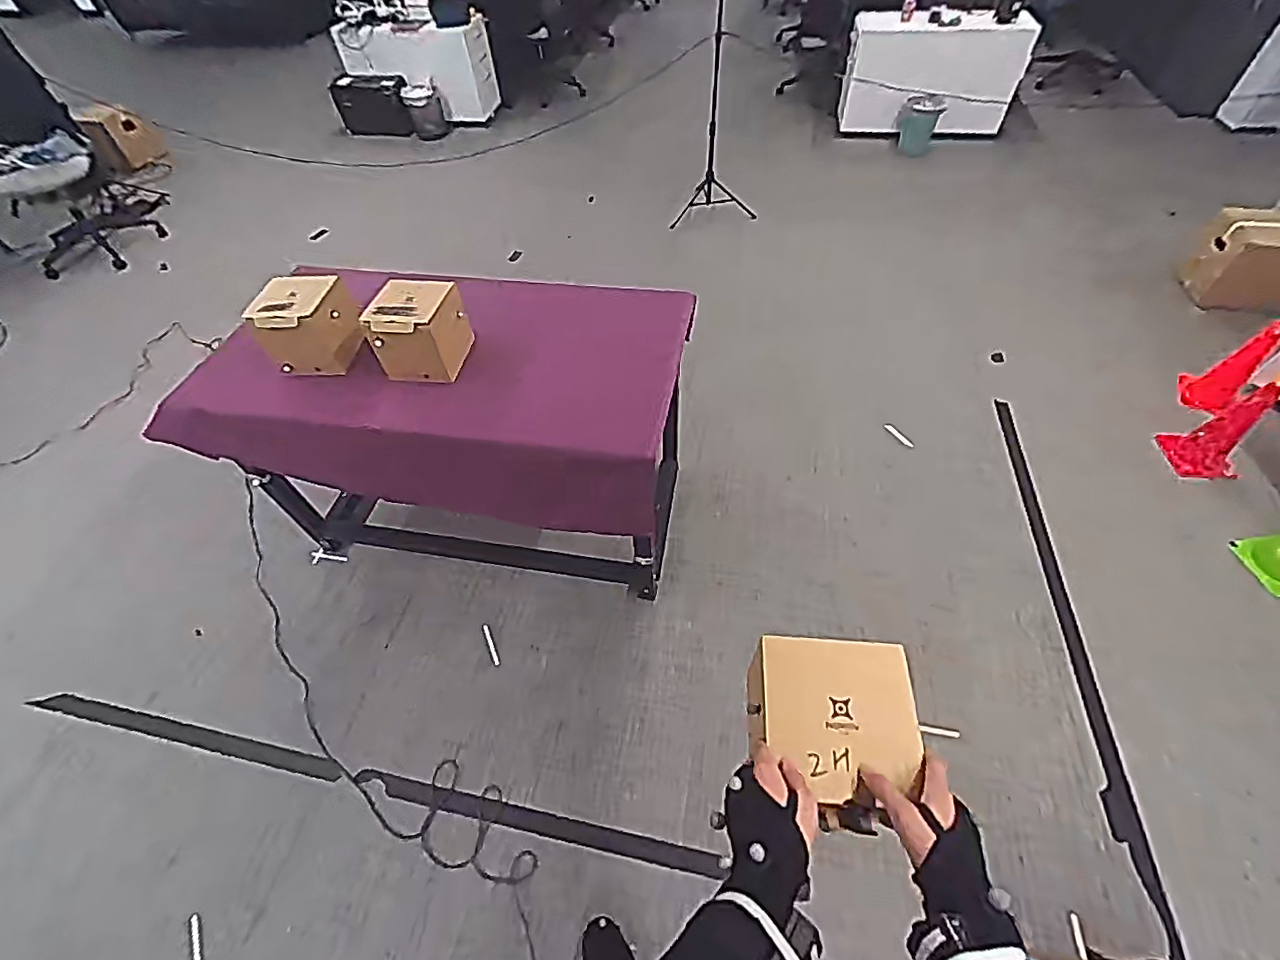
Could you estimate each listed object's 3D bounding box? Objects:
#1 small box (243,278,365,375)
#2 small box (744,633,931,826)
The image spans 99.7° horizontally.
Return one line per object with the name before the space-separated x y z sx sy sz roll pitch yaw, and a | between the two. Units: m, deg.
small box | -0.809 -0.371 1.328 0.168 0.176 0.179 -1 52 3
small box | 0.218 0.303 0.653 0.168 0.176 0.179 2 55 6
